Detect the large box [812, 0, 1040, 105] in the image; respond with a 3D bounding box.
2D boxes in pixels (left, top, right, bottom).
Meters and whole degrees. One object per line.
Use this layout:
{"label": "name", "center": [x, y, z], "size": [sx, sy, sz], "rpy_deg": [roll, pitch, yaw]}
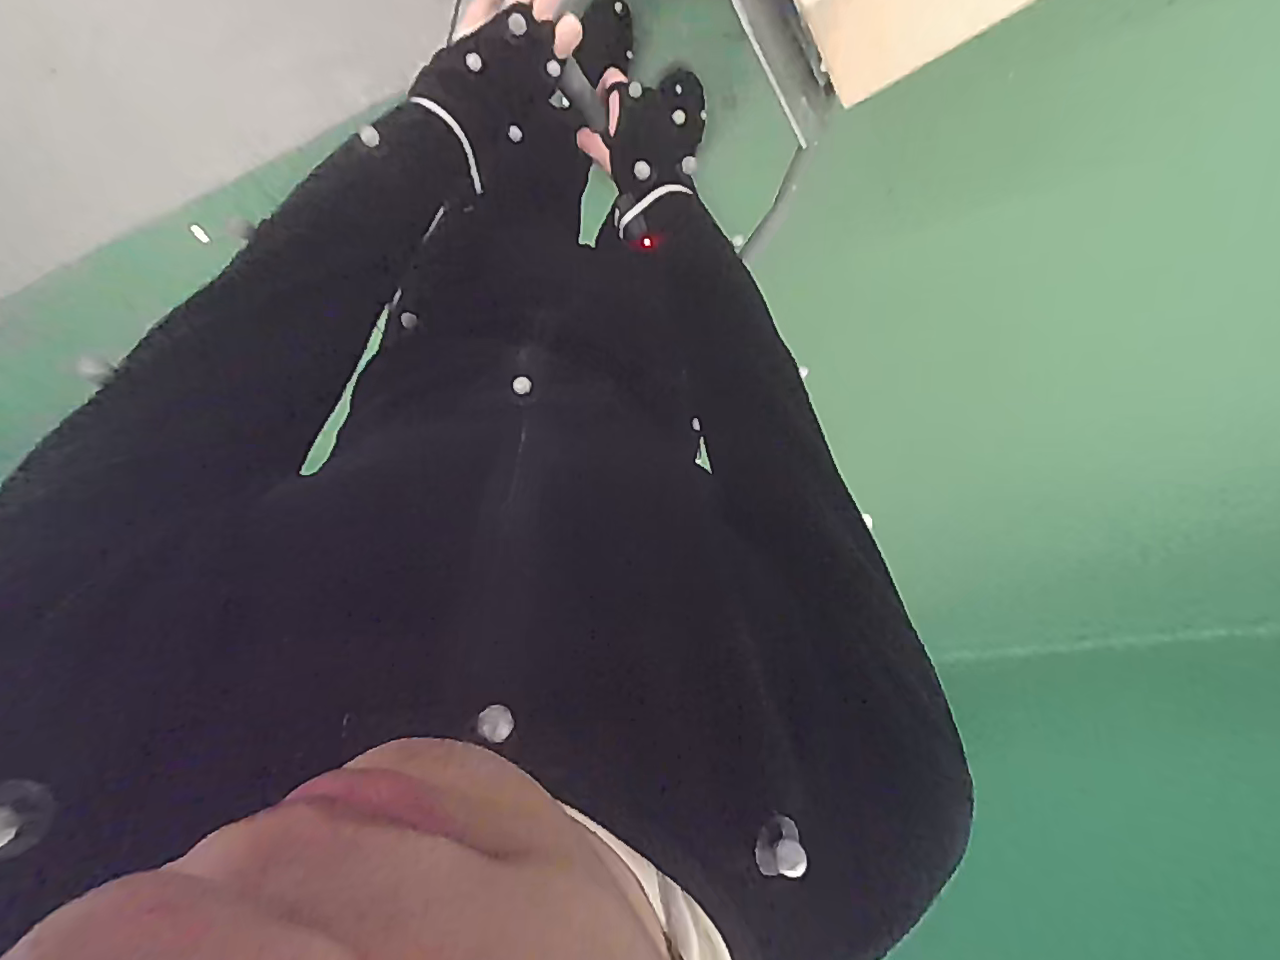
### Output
{"label": "large box", "center": [0.421, -0.788, 0.671], "size": [0.408, 0.320, 0.320], "rpy_deg": [-9, 138, 41]}
